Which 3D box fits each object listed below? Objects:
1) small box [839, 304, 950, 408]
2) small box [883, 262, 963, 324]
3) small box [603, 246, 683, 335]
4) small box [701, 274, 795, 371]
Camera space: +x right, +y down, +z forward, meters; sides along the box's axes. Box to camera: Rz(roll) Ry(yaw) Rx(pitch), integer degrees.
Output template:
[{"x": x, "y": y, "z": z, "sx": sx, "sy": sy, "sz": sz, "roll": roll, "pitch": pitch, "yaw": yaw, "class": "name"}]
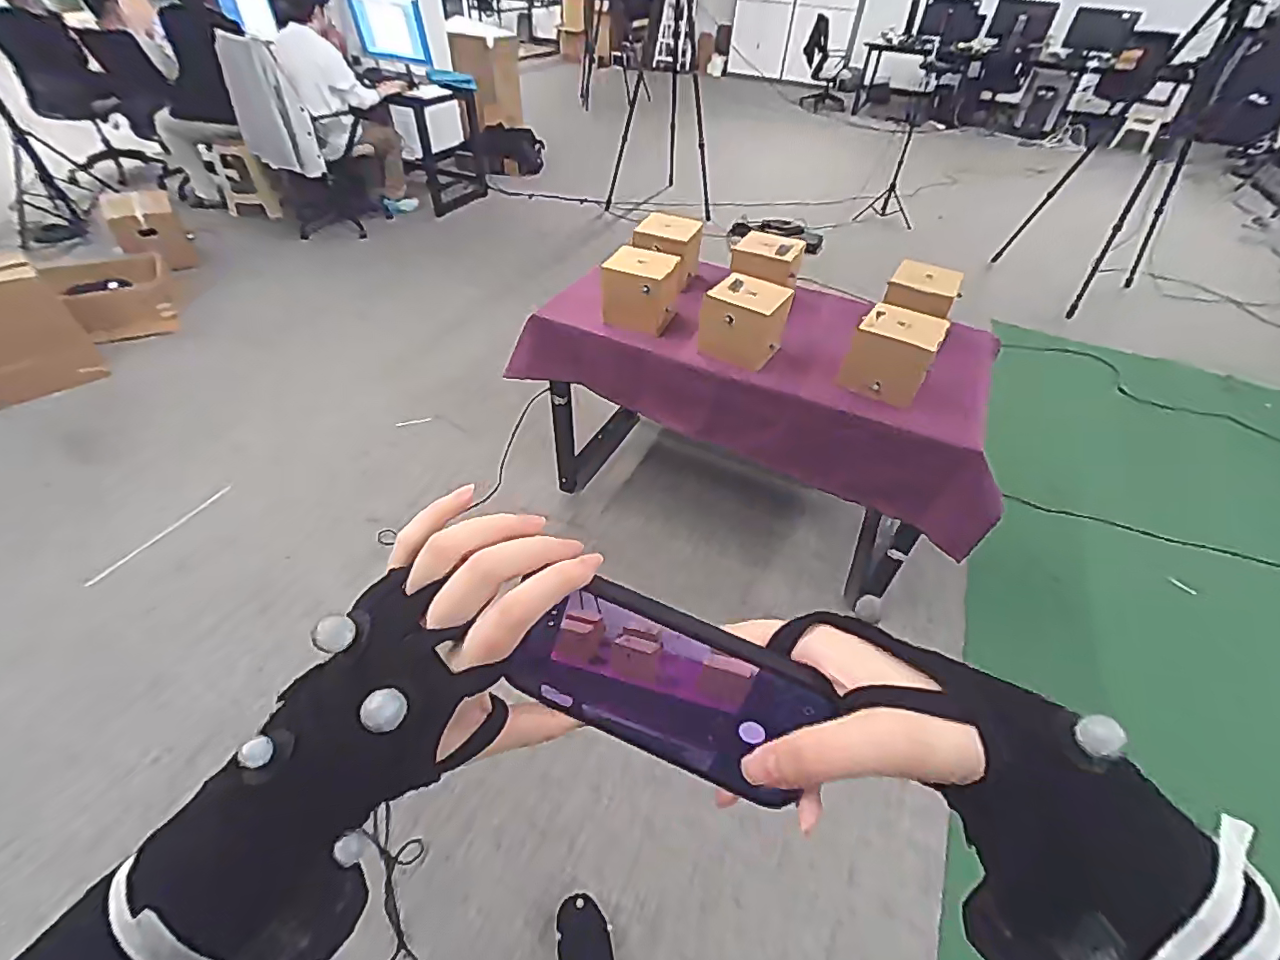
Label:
[{"x": 0.620, "y": -0.299, "z": 1.327, "sx": 0.179, "sy": 0.176, "sz": 0.168, "roll": 28, "pitch": 49, "yaw": 22, "class": "small box"}, {"x": 0.778, "y": -0.485, "z": 1.524, "sx": 0.168, "sy": 0.176, "sz": 0.179, "roll": 24, "pitch": 49, "yaw": 20, "class": "small box"}, {"x": 0.005, "y": -0.529, "z": 1.517, "sx": 0.179, "sy": 0.176, "sz": 0.168, "roll": 18, "pitch": 46, "yaw": 12, "class": "small box"}, {"x": 0.276, "y": -0.410, "z": 1.414, "sx": 0.179, "sy": 0.176, "sz": 0.168, "roll": 27, "pitch": 49, "yaw": 20, "class": "small box"}]
